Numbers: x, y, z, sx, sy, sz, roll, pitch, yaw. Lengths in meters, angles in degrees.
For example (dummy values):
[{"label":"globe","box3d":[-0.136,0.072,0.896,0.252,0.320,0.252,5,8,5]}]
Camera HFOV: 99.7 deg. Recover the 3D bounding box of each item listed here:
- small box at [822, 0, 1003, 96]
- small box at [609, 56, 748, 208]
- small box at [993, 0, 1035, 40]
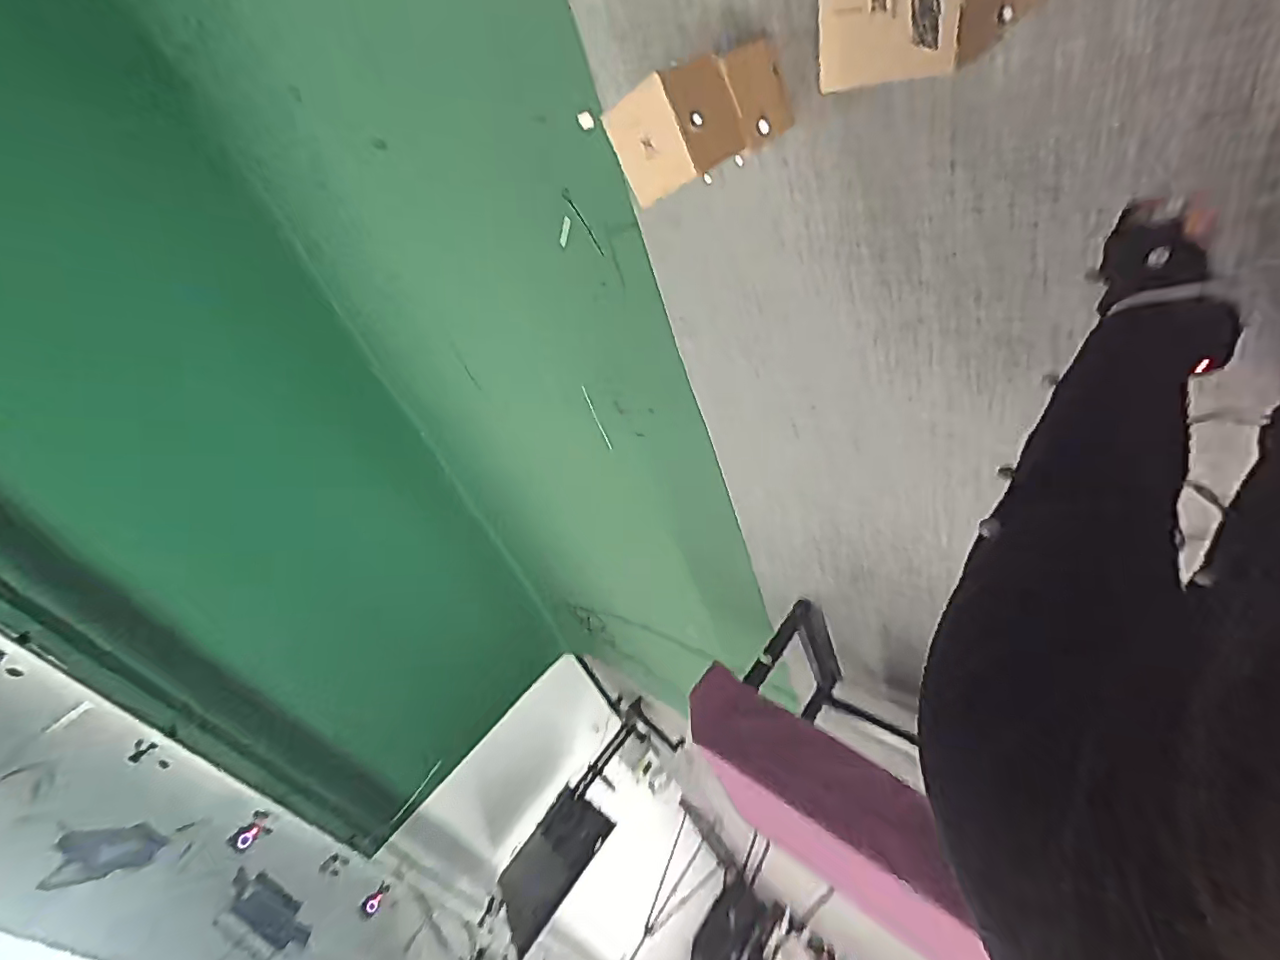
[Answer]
[{"label":"small box","box3d":[0.355,-0.623,0.695,0.179,0.176,0.168,24,144,39]},{"label":"small box","box3d":[0.079,-0.661,1.034,0.168,0.176,0.179,5,130,51]},{"label":"small box","box3d":[0.460,-0.729,0.767,0.179,0.176,0.168,21,143,39]}]
